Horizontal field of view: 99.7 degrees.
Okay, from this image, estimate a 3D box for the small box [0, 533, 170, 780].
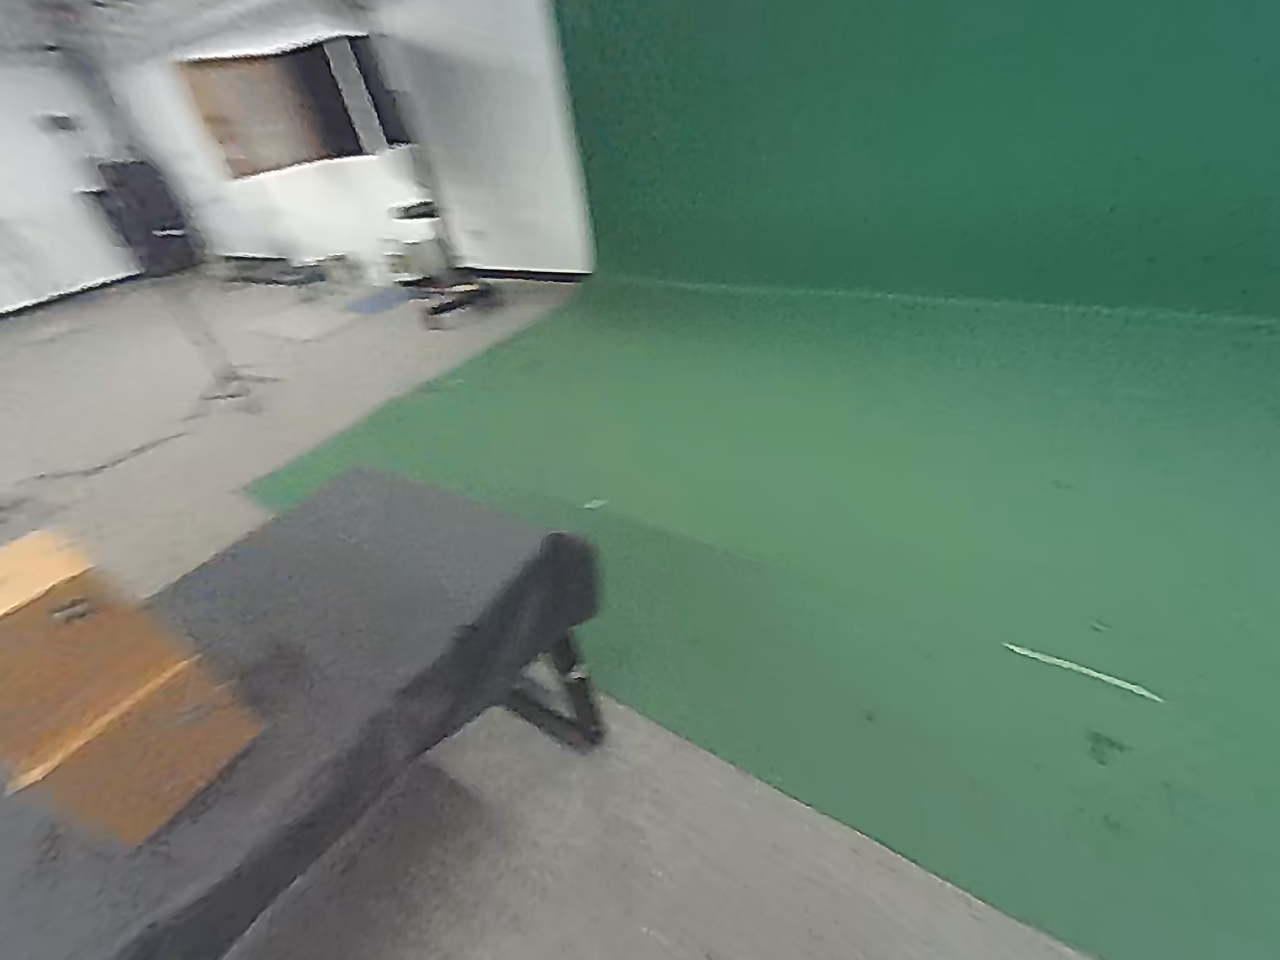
[{"bbox_3d":[-0.701,0.193,0.609,0.168,0.176,0.179,14,42,29],"label":"small box"}]
